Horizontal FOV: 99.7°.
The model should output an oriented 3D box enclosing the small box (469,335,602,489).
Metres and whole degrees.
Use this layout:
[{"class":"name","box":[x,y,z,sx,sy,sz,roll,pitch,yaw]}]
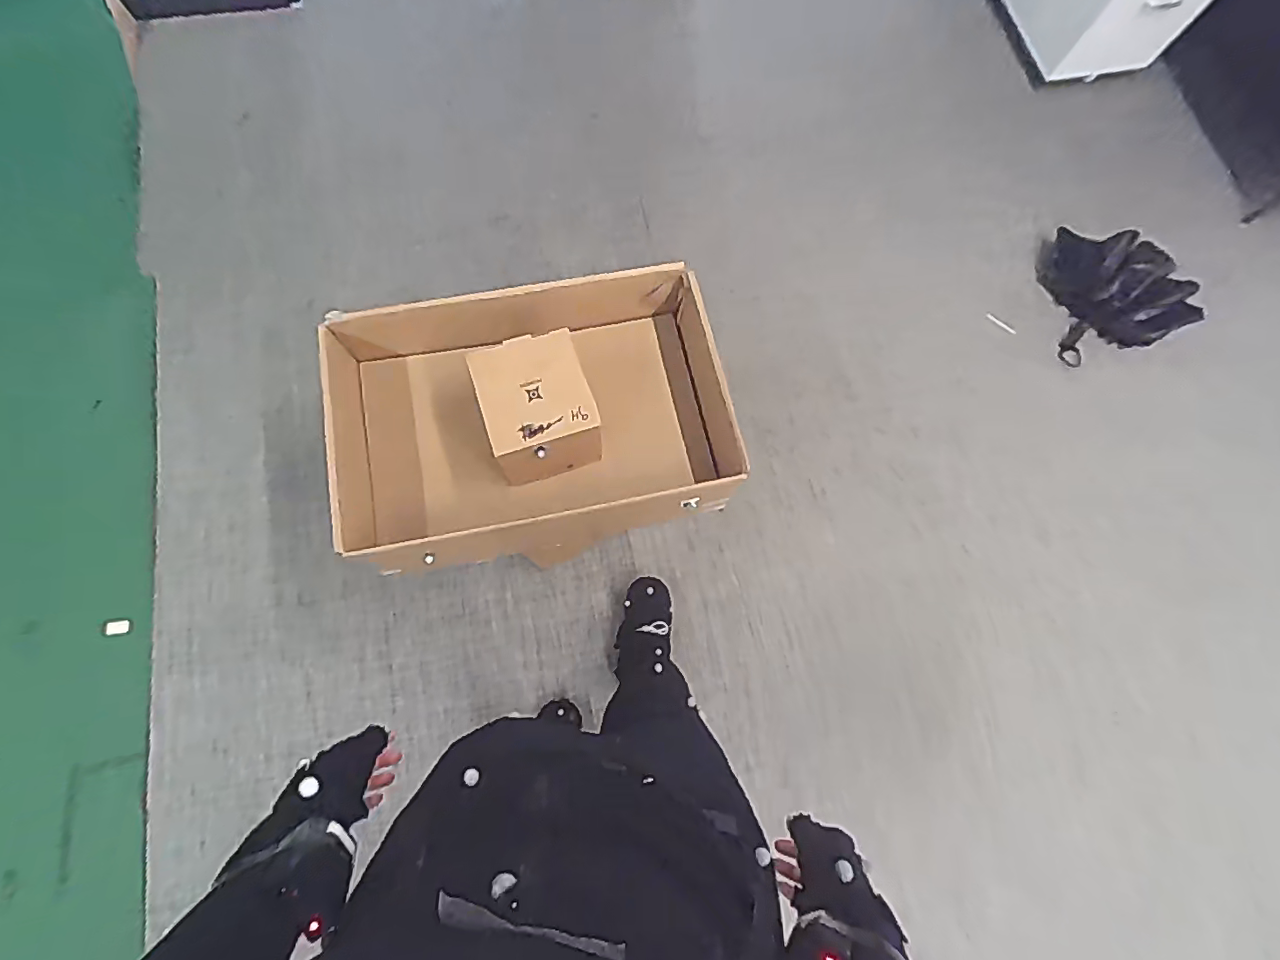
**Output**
[{"class":"small box","box":[-0.165,-0.106,0.898,0.168,0.176,0.179,-18,75,-7]}]
